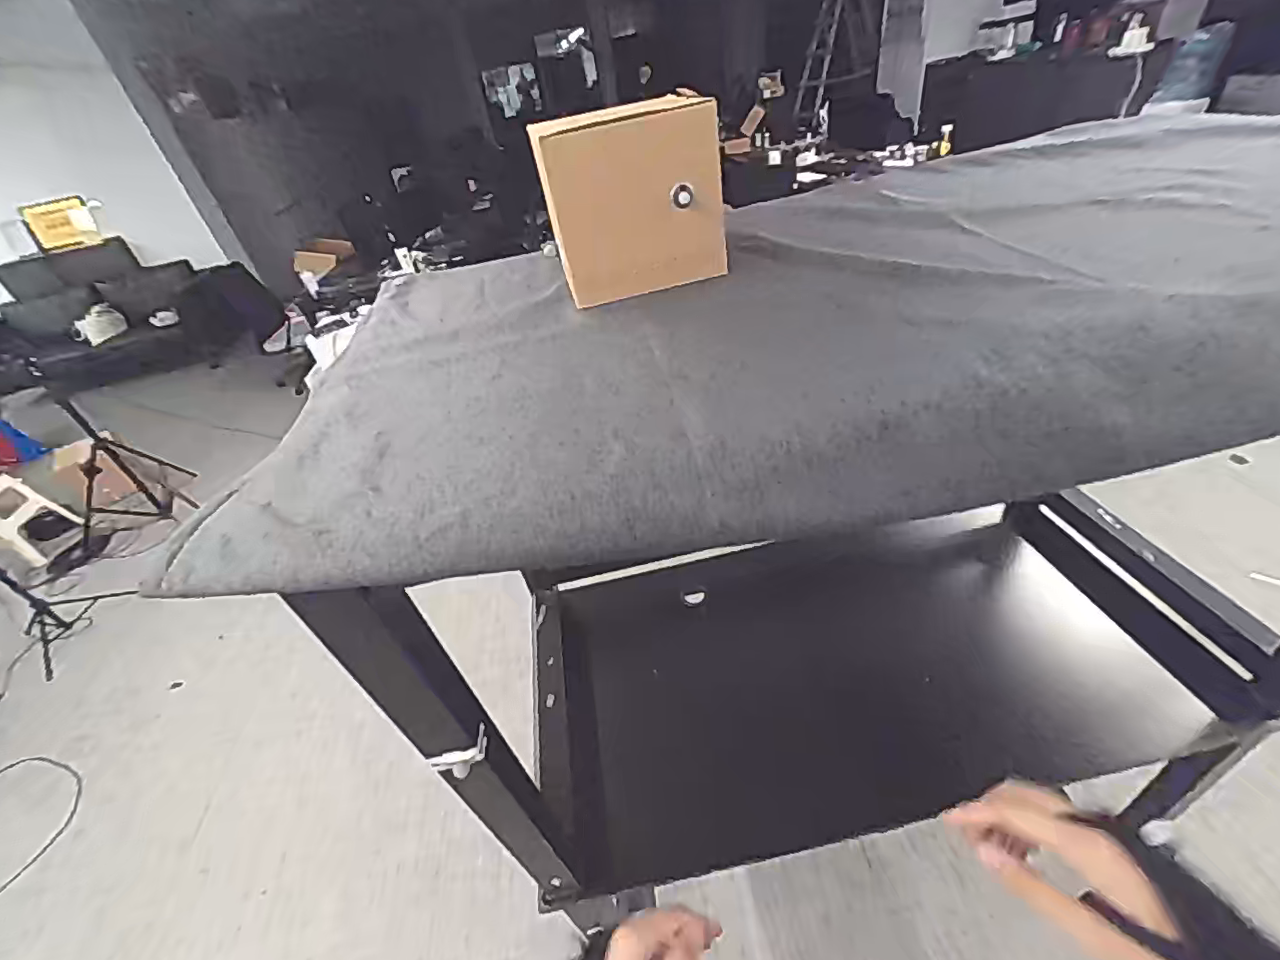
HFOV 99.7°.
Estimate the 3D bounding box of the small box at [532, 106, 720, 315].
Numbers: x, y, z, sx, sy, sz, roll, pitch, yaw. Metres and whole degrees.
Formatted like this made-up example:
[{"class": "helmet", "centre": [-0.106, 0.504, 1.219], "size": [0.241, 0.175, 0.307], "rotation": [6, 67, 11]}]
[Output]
[{"class": "small box", "centre": [-0.014, -0.309, 0.619], "size": [0.179, 0.176, 0.168], "rotation": [-15, 37, -5]}]
